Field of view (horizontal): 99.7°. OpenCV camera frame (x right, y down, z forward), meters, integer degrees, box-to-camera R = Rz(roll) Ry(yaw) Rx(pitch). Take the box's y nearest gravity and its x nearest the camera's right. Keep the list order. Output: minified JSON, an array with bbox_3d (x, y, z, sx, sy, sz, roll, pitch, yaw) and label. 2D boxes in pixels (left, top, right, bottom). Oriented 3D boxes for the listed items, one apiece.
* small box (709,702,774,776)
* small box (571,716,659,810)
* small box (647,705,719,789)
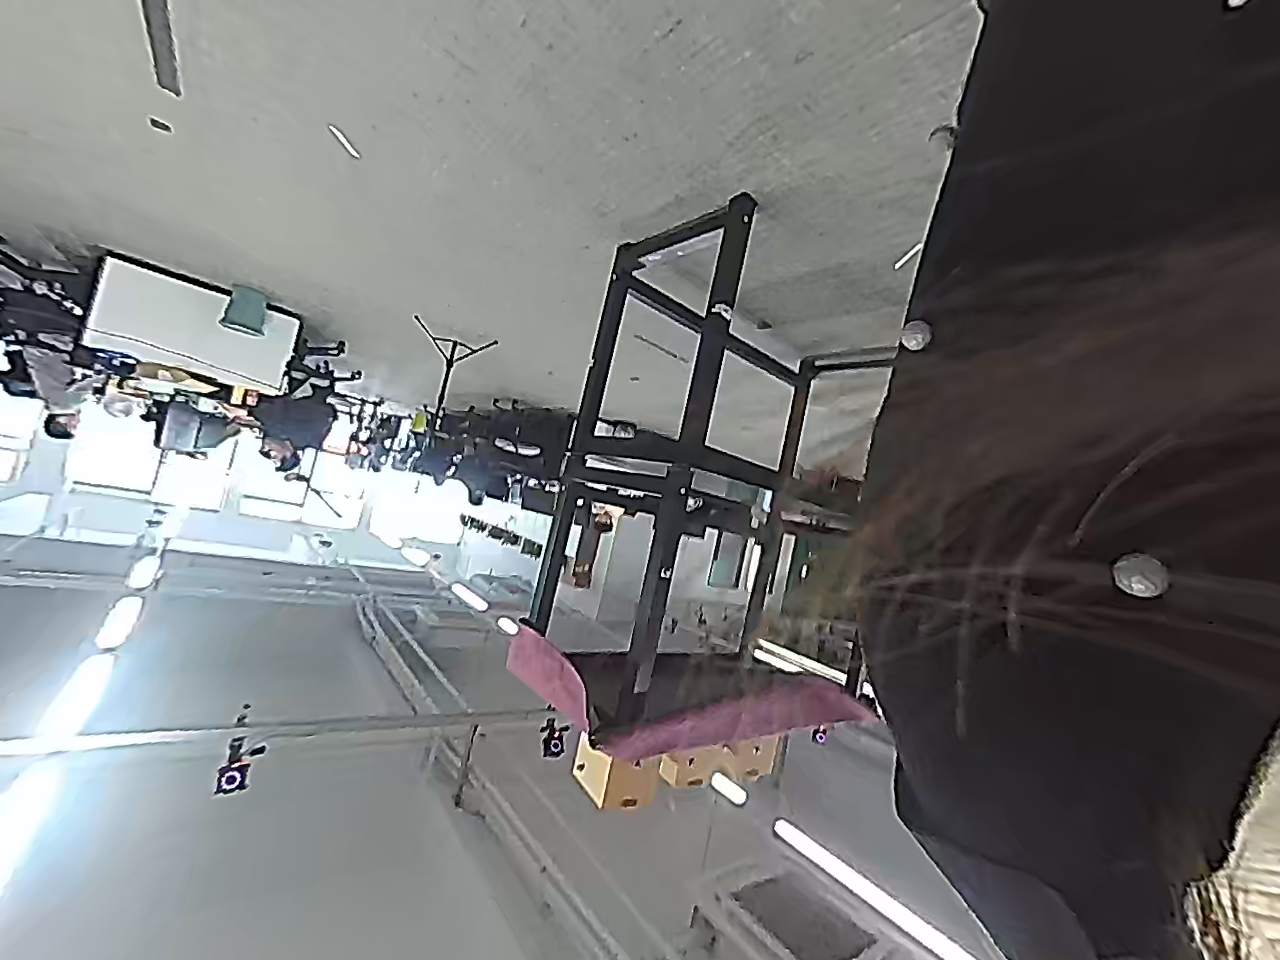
[{"bbox_3d":[0.334,0.865,1.820,0.168,0.176,0.179,14,176,-29],"label":"small box"},{"bbox_3d":[-0.066,0.763,1.481,0.168,0.176,0.179,13,178,-32],"label":"small box"},{"bbox_3d":[0.124,0.810,1.658,0.168,0.176,0.179,15,176,-35],"label":"small box"}]
